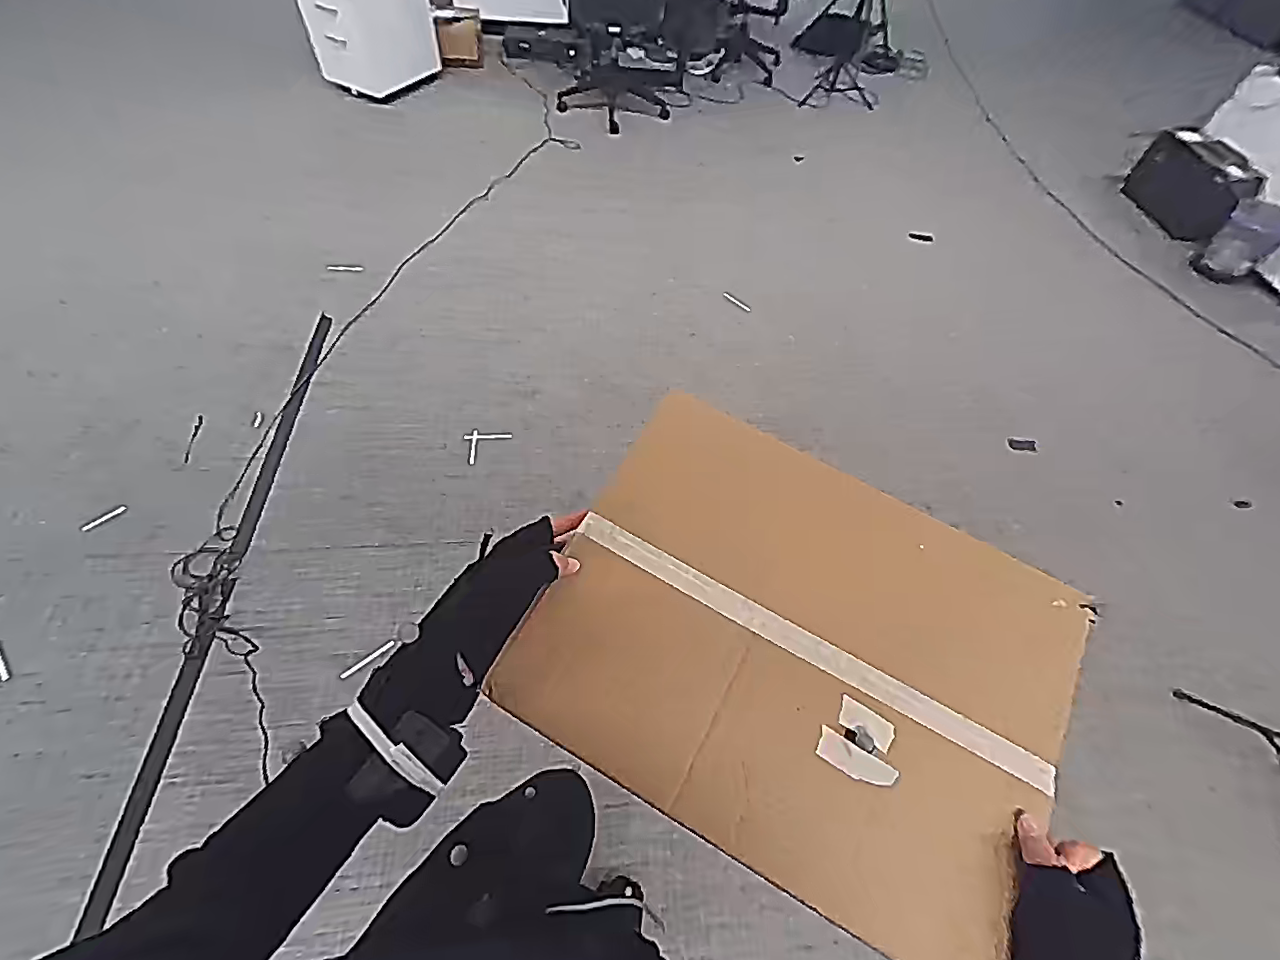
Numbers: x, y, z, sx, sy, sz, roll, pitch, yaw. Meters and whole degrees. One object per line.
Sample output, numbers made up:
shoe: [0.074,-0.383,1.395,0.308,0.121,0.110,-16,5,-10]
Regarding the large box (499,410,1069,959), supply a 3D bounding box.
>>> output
large box: [0.123,0.196,0.586,0.408,0.320,0.320,29,70,9]
